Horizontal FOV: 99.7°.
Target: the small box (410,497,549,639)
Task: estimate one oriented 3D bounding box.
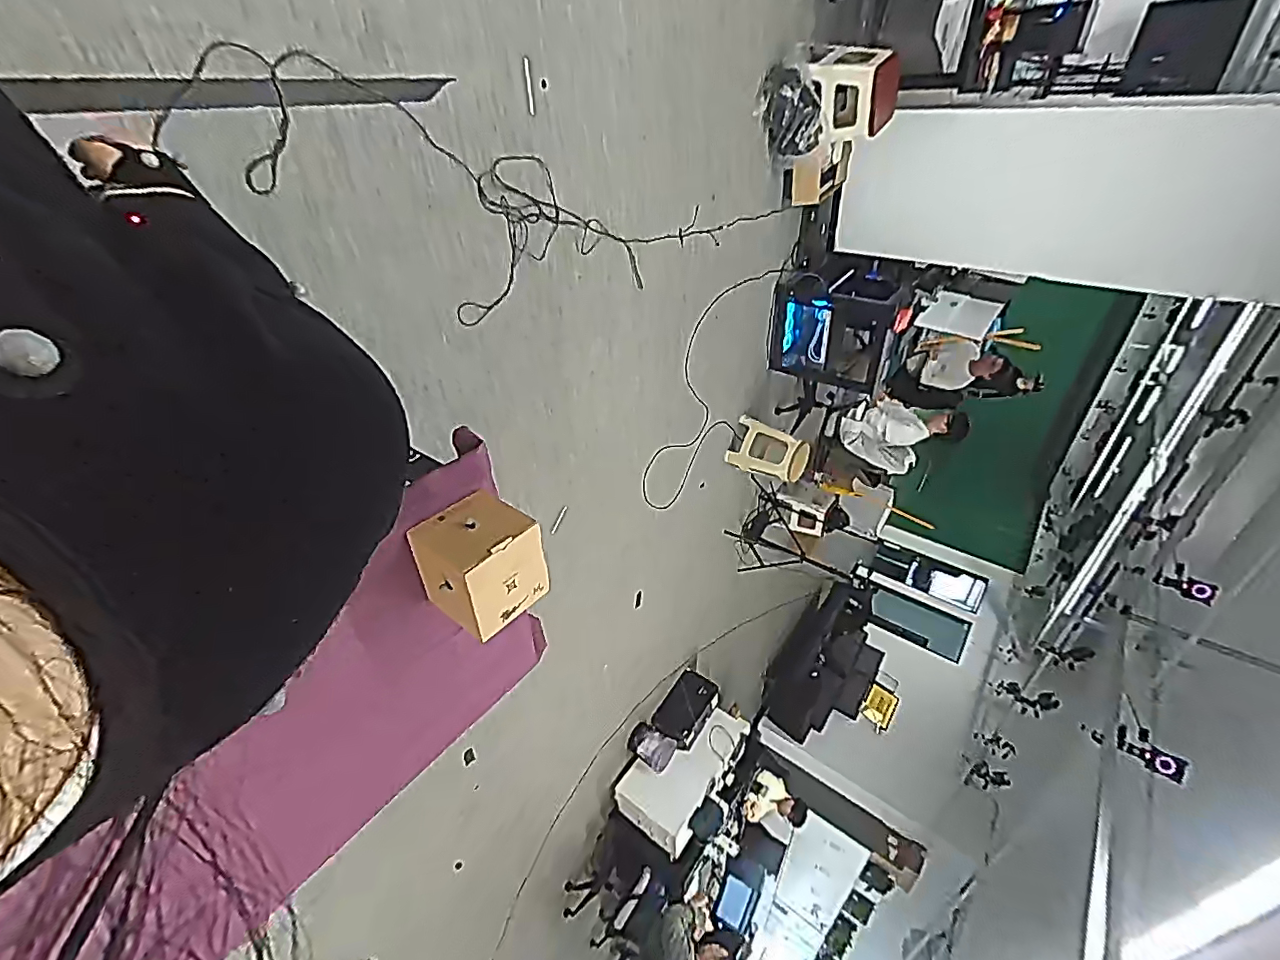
[{"bbox_3d":[-0.295,0.149,0.999,0.168,0.176,0.179,-37,137,-39],"label":"small box"}]
